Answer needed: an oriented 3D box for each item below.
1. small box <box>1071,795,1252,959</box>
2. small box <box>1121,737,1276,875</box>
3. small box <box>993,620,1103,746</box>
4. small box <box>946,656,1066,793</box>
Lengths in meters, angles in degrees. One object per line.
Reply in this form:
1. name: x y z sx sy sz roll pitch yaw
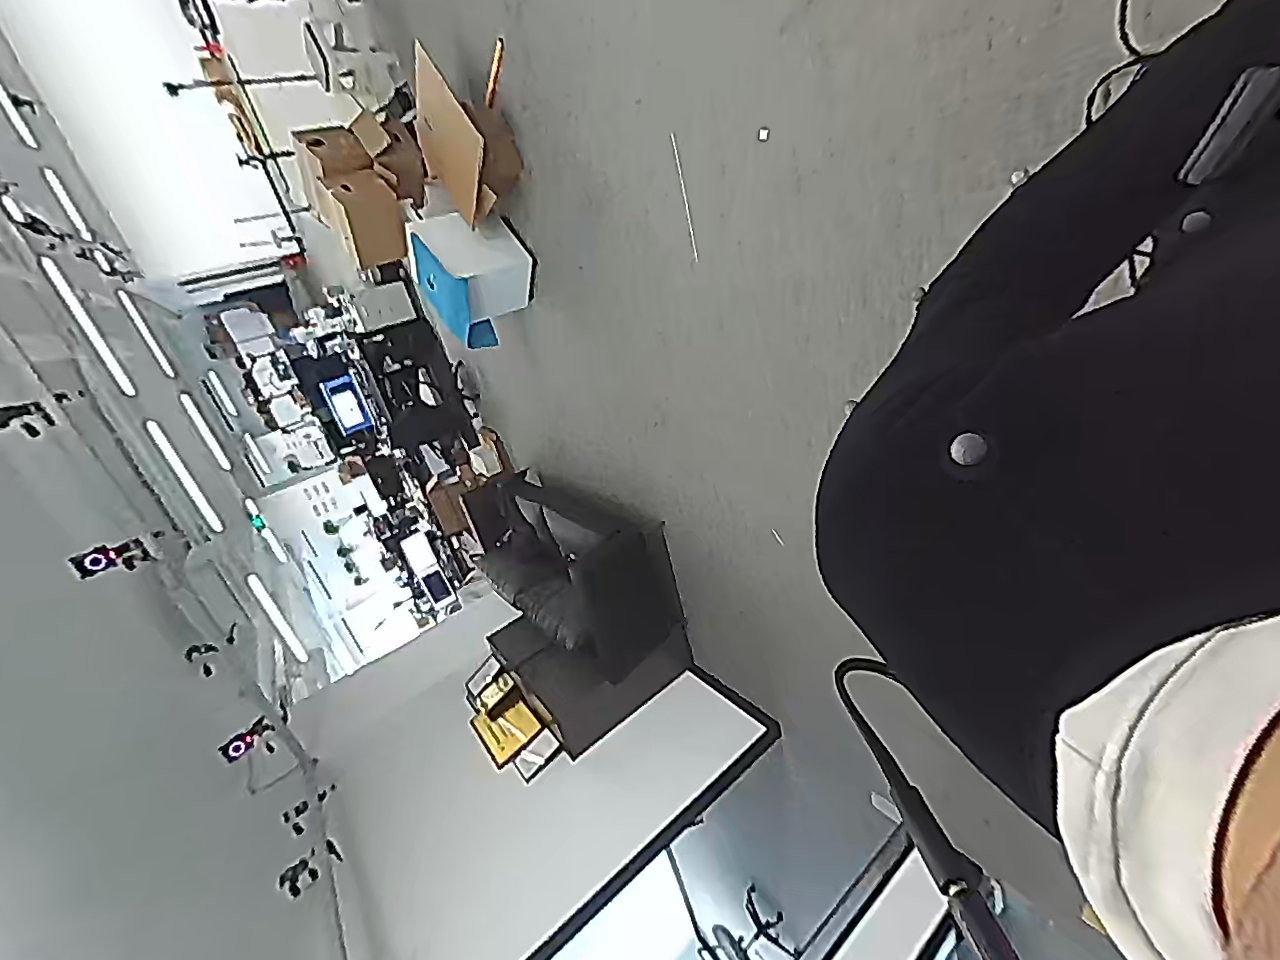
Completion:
1. small box: 0.849 0.674 0.886 0.168 0.176 0.179 22 133 49
2. small box: 0.977 0.609 0.964 0.168 0.176 0.179 22 132 50
3. small box: 0.935 0.465 1.260 0.168 0.176 0.179 28 135 48
4. small box: 0.800 0.523 1.185 0.168 0.176 0.179 22 132 51
